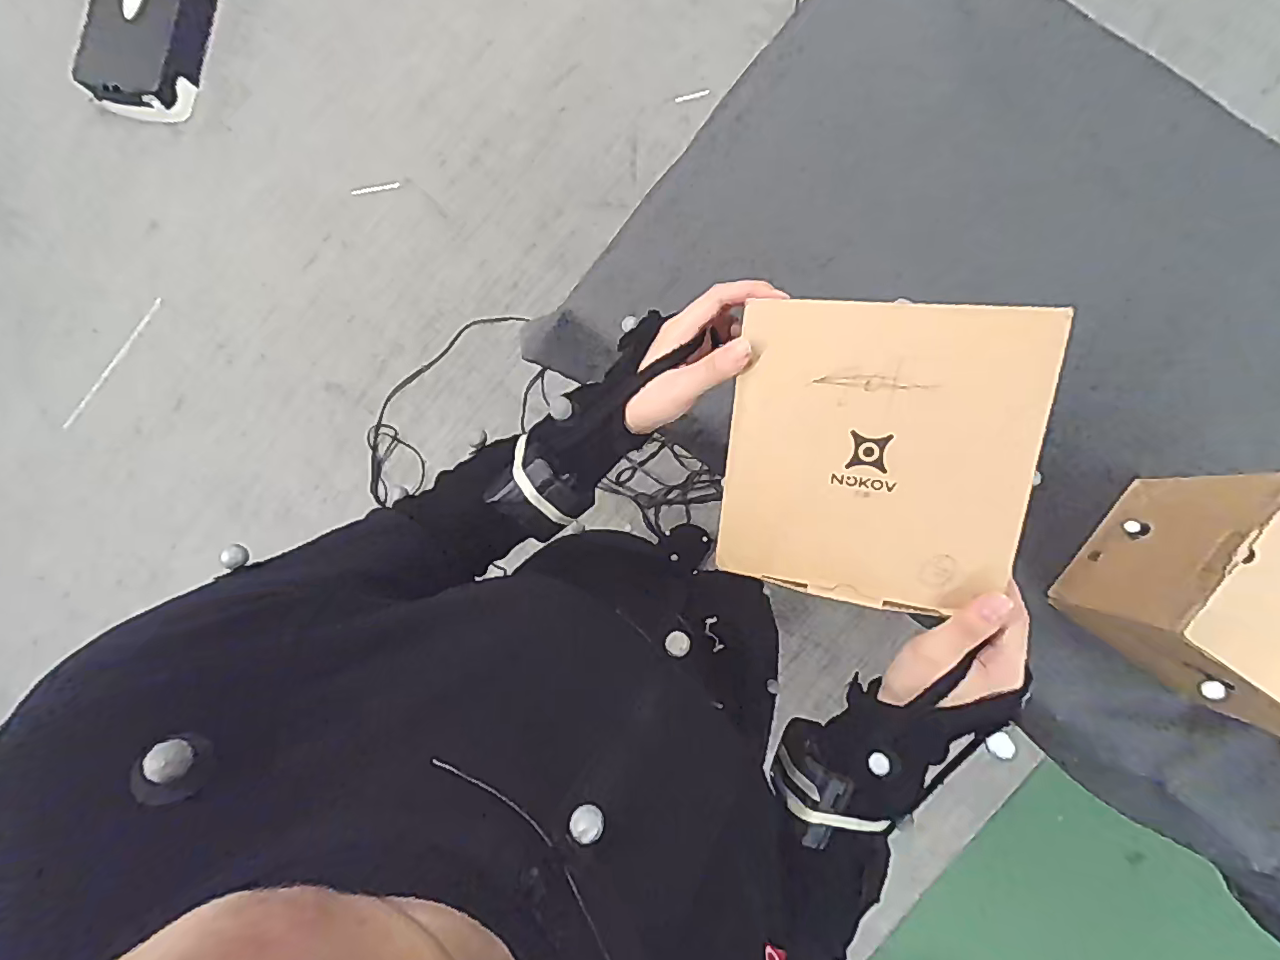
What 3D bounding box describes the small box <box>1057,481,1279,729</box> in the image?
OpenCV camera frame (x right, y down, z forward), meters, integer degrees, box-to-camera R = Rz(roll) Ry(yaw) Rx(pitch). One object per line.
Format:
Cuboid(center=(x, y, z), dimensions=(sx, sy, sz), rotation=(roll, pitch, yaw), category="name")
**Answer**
Cuboid(center=(0.556, 0.109, 0.498), dimensions=(0.179, 0.176, 0.168), rotation=(37, 92, 7), category="small box")
